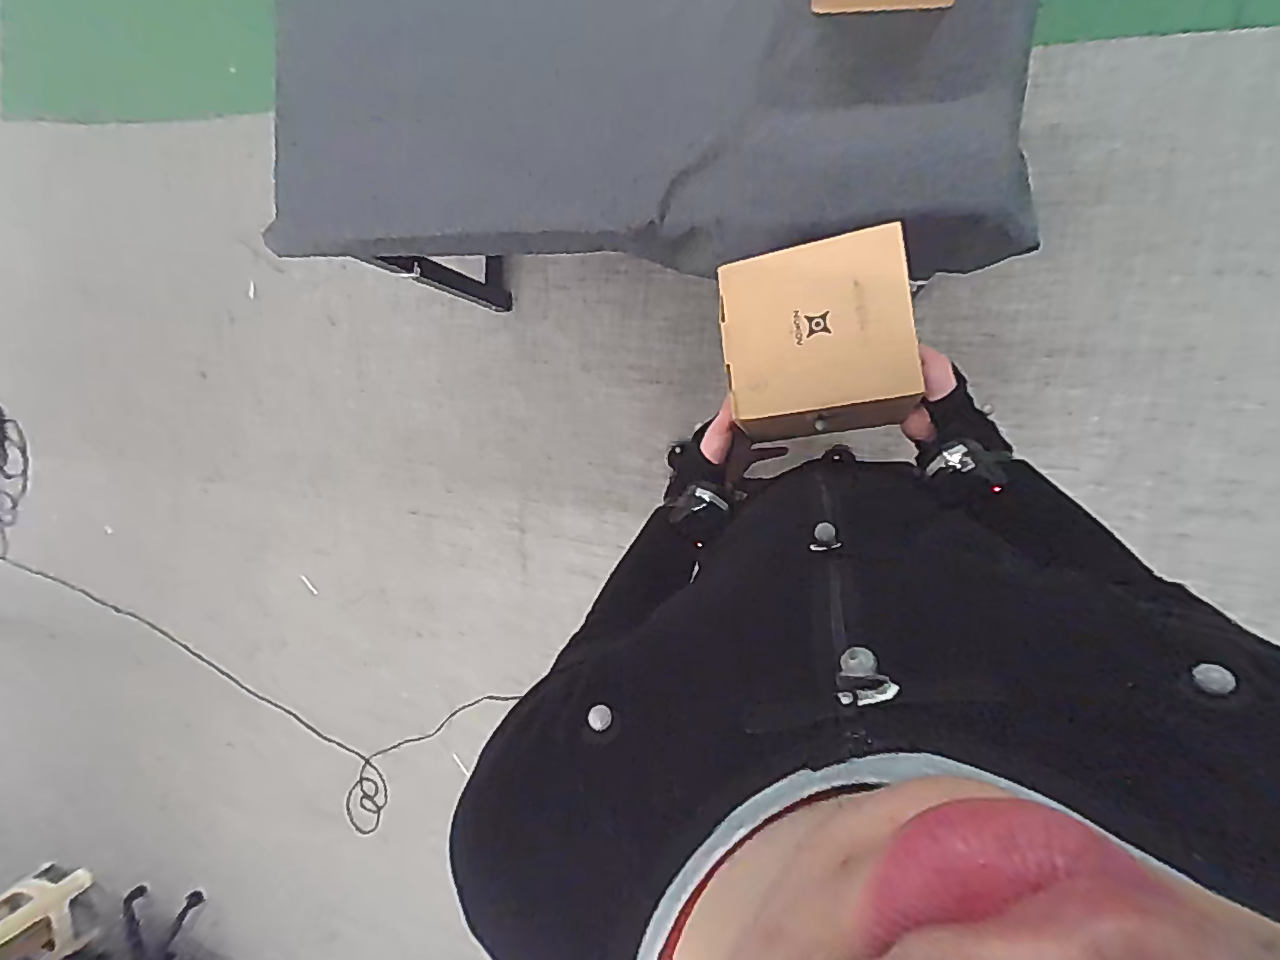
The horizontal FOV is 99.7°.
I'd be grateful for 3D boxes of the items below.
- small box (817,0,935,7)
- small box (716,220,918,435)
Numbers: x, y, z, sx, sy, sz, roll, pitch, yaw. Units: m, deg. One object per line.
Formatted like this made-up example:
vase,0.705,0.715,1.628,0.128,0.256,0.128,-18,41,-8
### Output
small box,0.301,-0.689,0.618,0.179,0.176,0.168,11,100,16
small box,0.191,-0.149,0.599,0.179,0.176,0.168,-7,85,18
